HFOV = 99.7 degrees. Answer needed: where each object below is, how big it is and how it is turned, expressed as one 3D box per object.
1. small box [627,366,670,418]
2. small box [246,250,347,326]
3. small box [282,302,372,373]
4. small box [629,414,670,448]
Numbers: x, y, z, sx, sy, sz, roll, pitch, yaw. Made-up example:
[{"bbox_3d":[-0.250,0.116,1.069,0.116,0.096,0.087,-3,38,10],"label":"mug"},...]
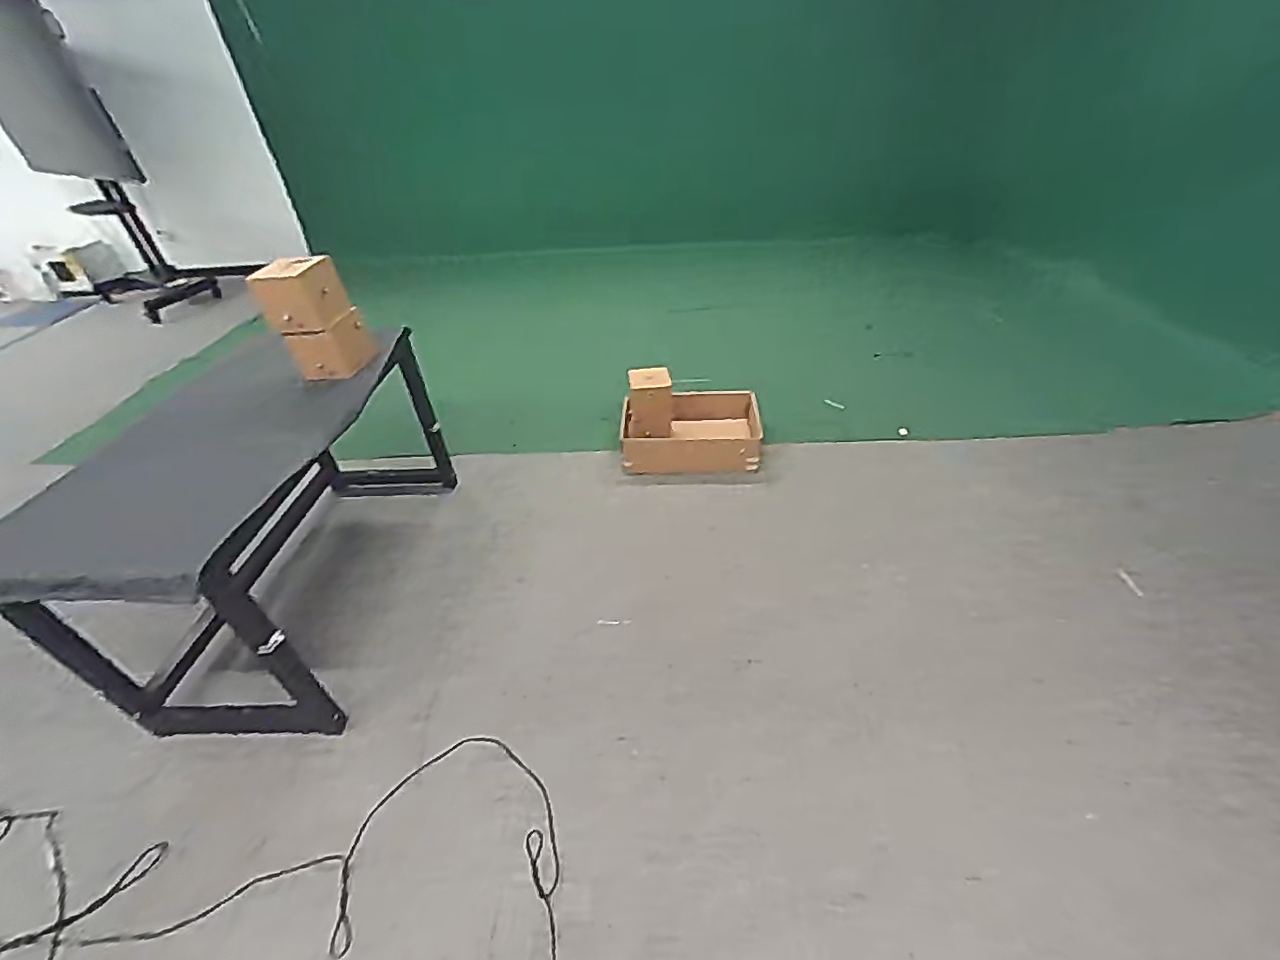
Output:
[{"bbox_3d":[0.036,-0.389,2.405,0.179,0.176,0.168,-4,41,-5],"label":"small box"},{"bbox_3d":[-1.018,-0.576,1.624,0.168,0.176,0.179,0,41,7],"label":"small box"},{"bbox_3d":[-0.994,-0.459,1.737,0.168,0.176,0.179,0,40,8],"label":"small box"},{"bbox_3d":[0.047,-0.263,2.509,0.179,0.176,0.168,0,40,5],"label":"small box"}]
